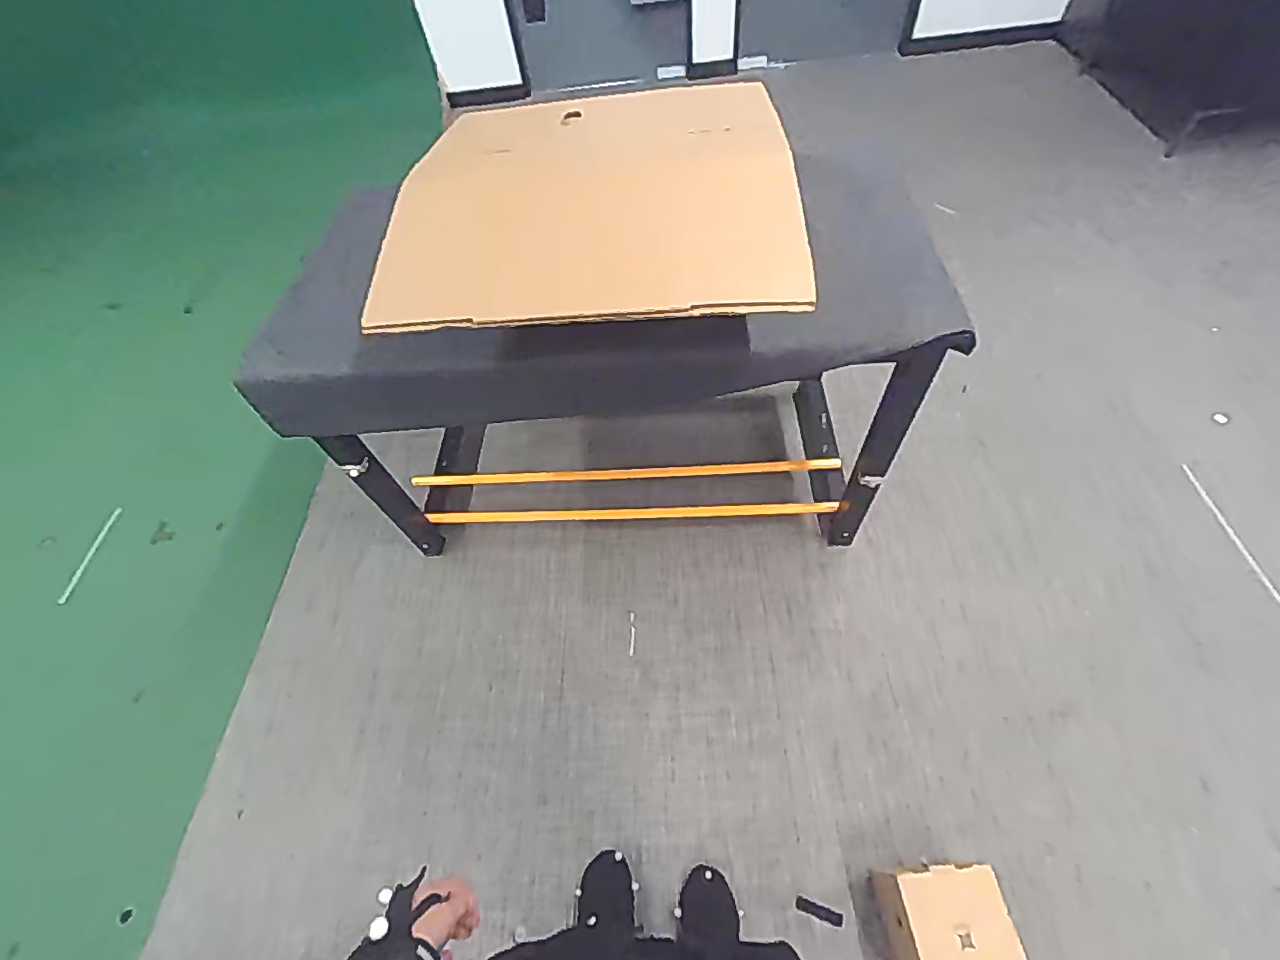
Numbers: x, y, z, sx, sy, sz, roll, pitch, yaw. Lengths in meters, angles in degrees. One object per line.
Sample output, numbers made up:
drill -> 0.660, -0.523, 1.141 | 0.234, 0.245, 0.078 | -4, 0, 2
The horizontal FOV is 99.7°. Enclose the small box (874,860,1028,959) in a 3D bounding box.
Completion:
small box -> 0.532, 0.777, 0.940 | 0.168, 0.176, 0.179 | -8, 55, 1
